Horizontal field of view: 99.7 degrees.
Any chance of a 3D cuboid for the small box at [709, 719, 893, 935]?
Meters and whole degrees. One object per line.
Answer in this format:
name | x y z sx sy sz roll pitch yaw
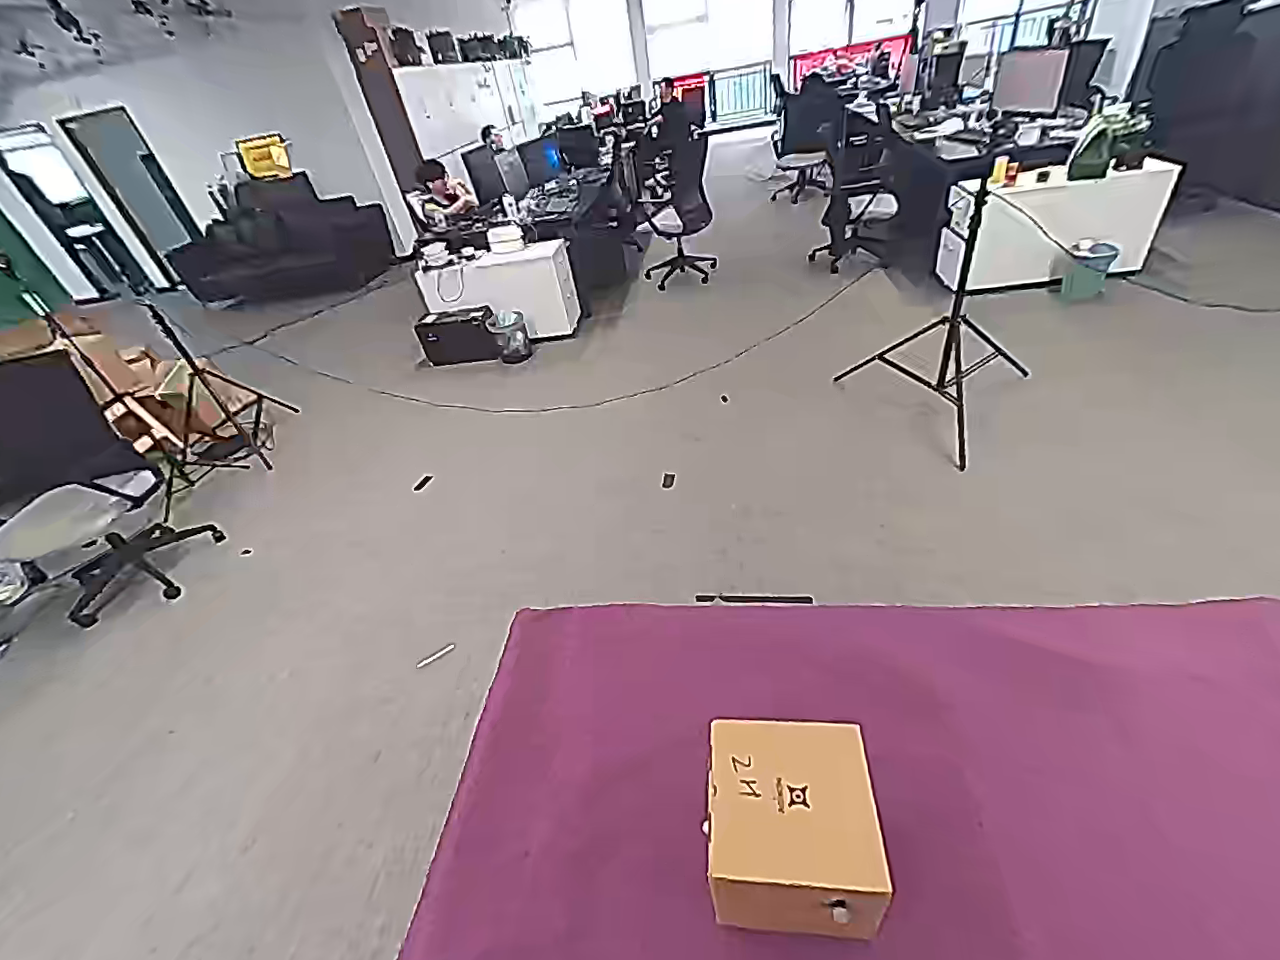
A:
small box | 0.175 0.403 0.632 0.179 0.176 0.168 -3 38 11
